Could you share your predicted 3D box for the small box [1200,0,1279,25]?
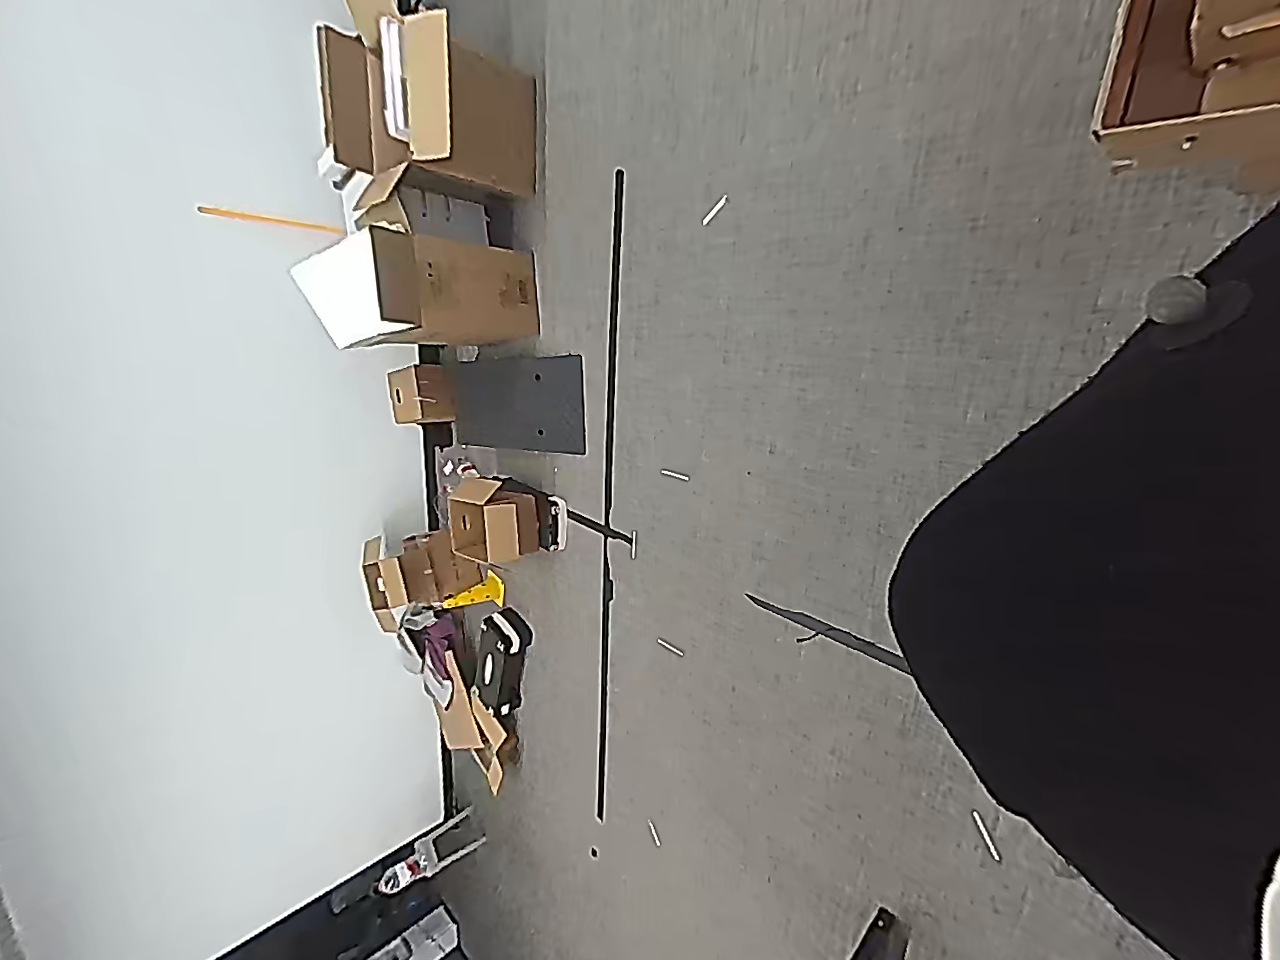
[{"bbox_3d":[0.729,-0.645,0.576,0.168,0.176,0.179,16,110,44],"label":"small box"}]
